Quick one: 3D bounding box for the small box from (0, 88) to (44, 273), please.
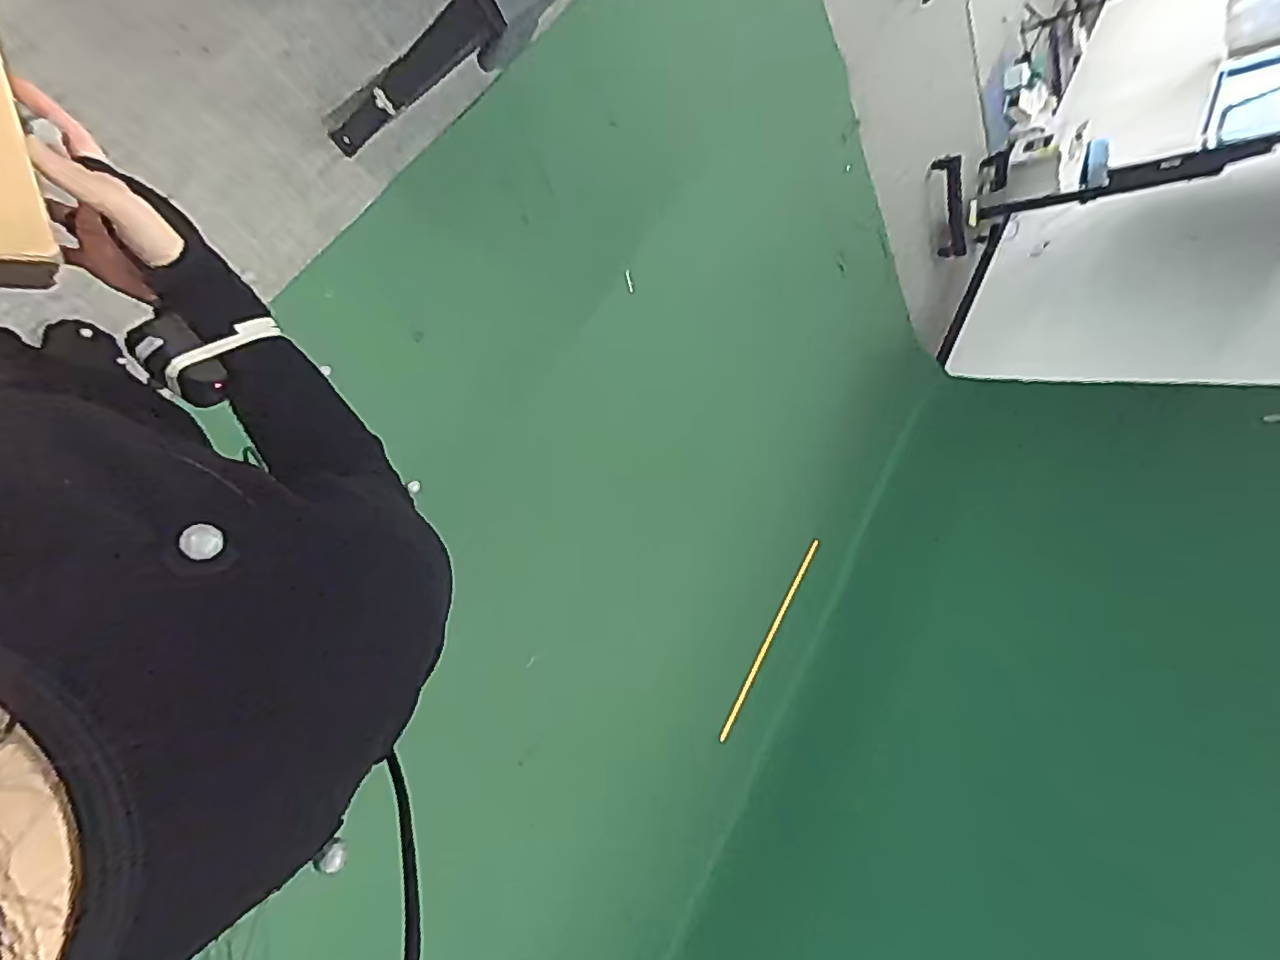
[{"bbox_3d":[-0.454,-0.209,0.276,0.168,0.176,0.179,-19,113,-46],"label":"small box"}]
